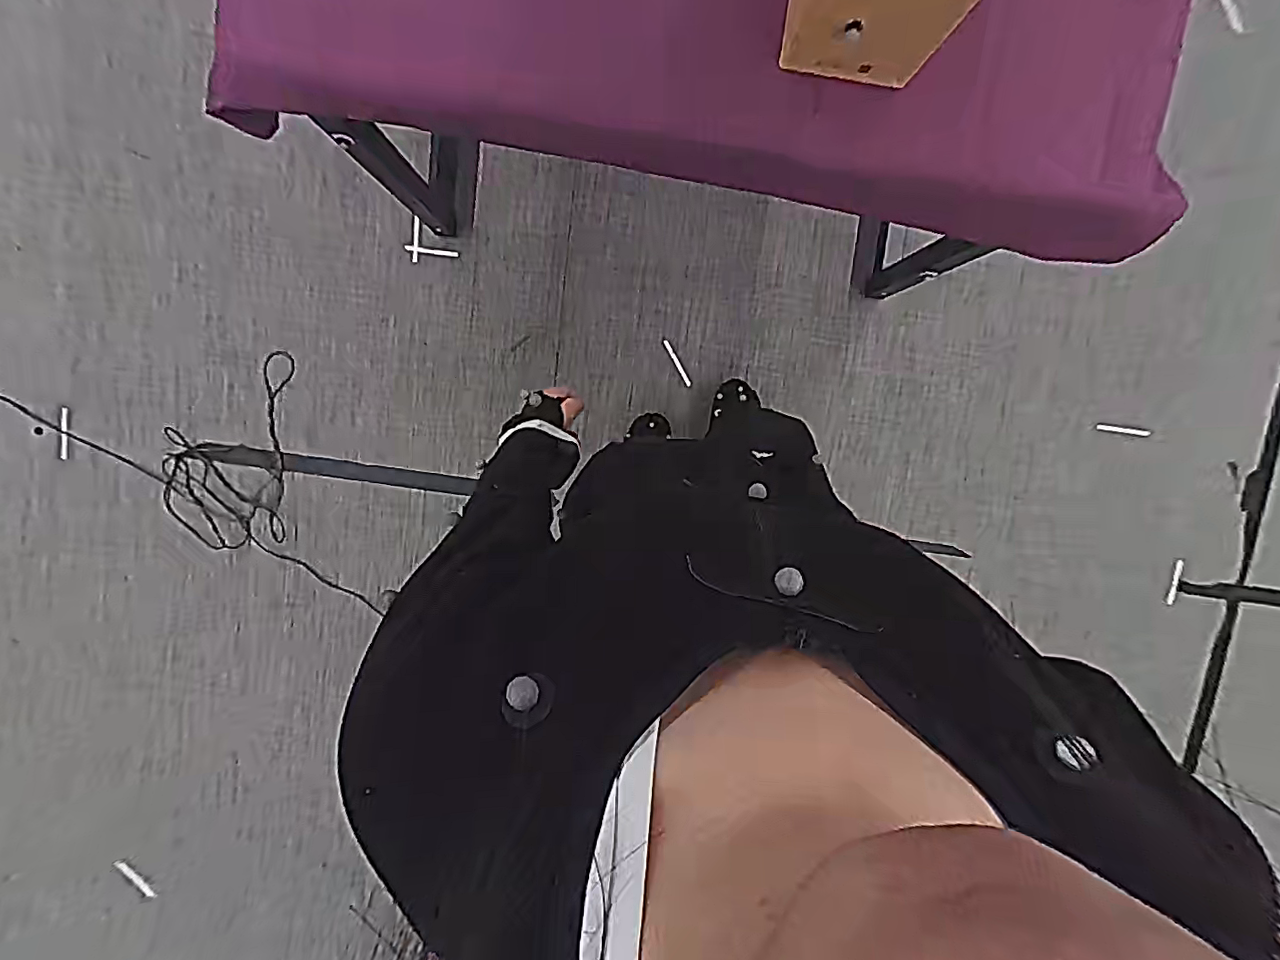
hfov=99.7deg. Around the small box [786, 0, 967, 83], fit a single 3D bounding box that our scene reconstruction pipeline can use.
[{"bbox_3d":[0.274,-0.593,0.608,0.168,0.176,0.179,7,97,-3],"label":"small box"}]
